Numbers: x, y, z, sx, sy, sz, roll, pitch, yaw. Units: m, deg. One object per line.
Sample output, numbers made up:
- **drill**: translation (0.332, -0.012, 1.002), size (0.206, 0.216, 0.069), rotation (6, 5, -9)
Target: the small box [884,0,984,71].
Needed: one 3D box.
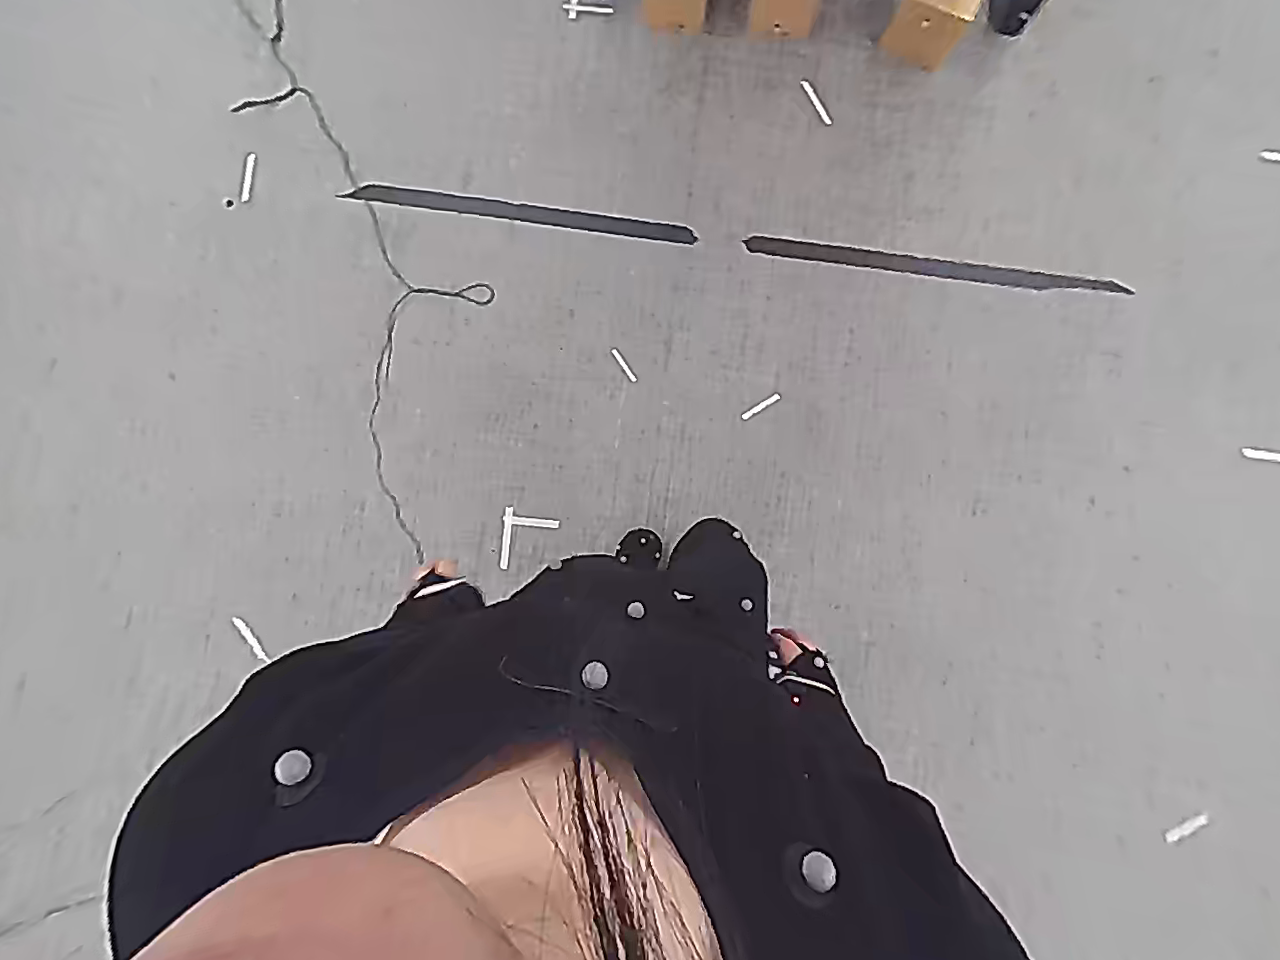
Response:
- **small box**: translation (0.777, -1.224, 1.412), size (0.179, 0.176, 0.168), rotation (25, 91, 4)

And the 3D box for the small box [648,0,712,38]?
- **small box**: translation (0.114, -1.339, 1.439), size (0.168, 0.176, 0.179), rotation (10, 88, 2)
